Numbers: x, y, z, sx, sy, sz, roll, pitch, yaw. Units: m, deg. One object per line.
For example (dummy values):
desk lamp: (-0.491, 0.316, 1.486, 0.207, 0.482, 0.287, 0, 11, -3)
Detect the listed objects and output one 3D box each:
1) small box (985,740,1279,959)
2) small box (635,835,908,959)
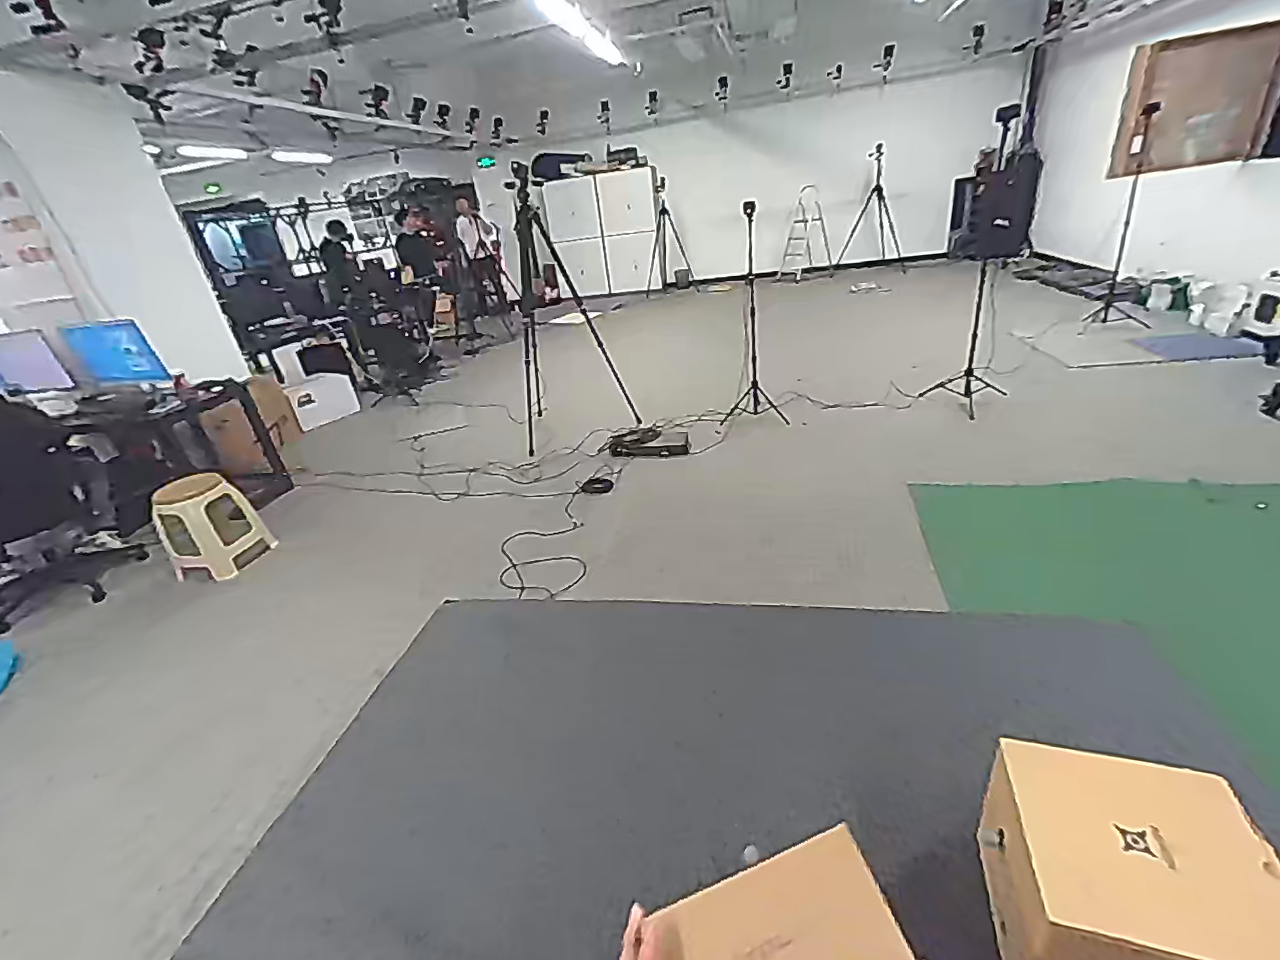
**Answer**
small box: (0.426, 0.372, 0.482, 0.179, 0.176, 0.168, 2, 28, 19)
small box: (0.114, 0.391, 0.389, 0.168, 0.176, 0.179, -22, 50, -6)
